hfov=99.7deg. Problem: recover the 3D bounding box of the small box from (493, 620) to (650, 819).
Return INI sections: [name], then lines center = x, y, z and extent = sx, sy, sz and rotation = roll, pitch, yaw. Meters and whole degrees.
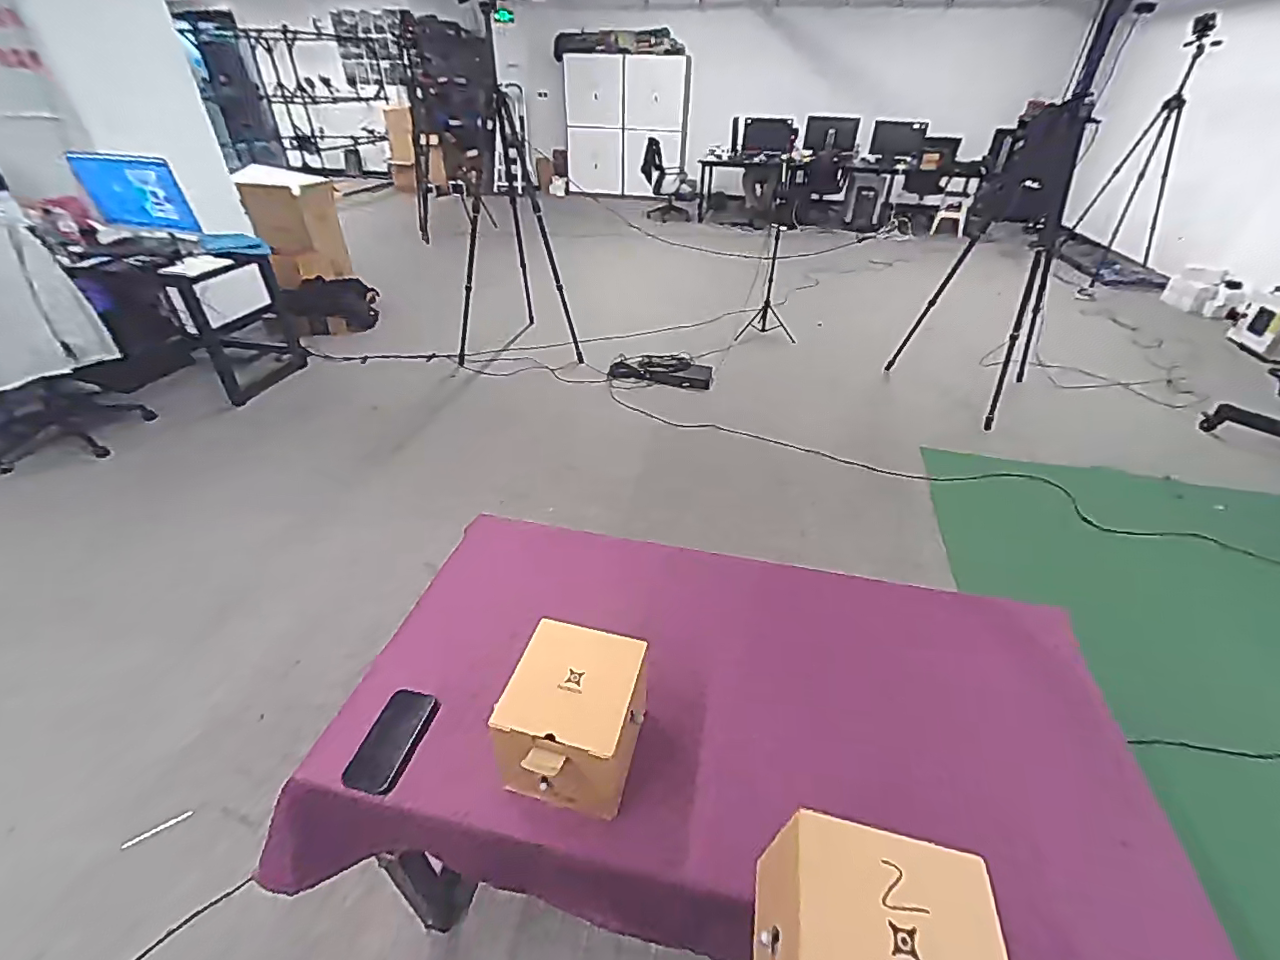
[small box]
center = -0.090, 0.336, 0.769
extent = 0.168, 0.176, 0.179
rotation = 11, 37, 11
